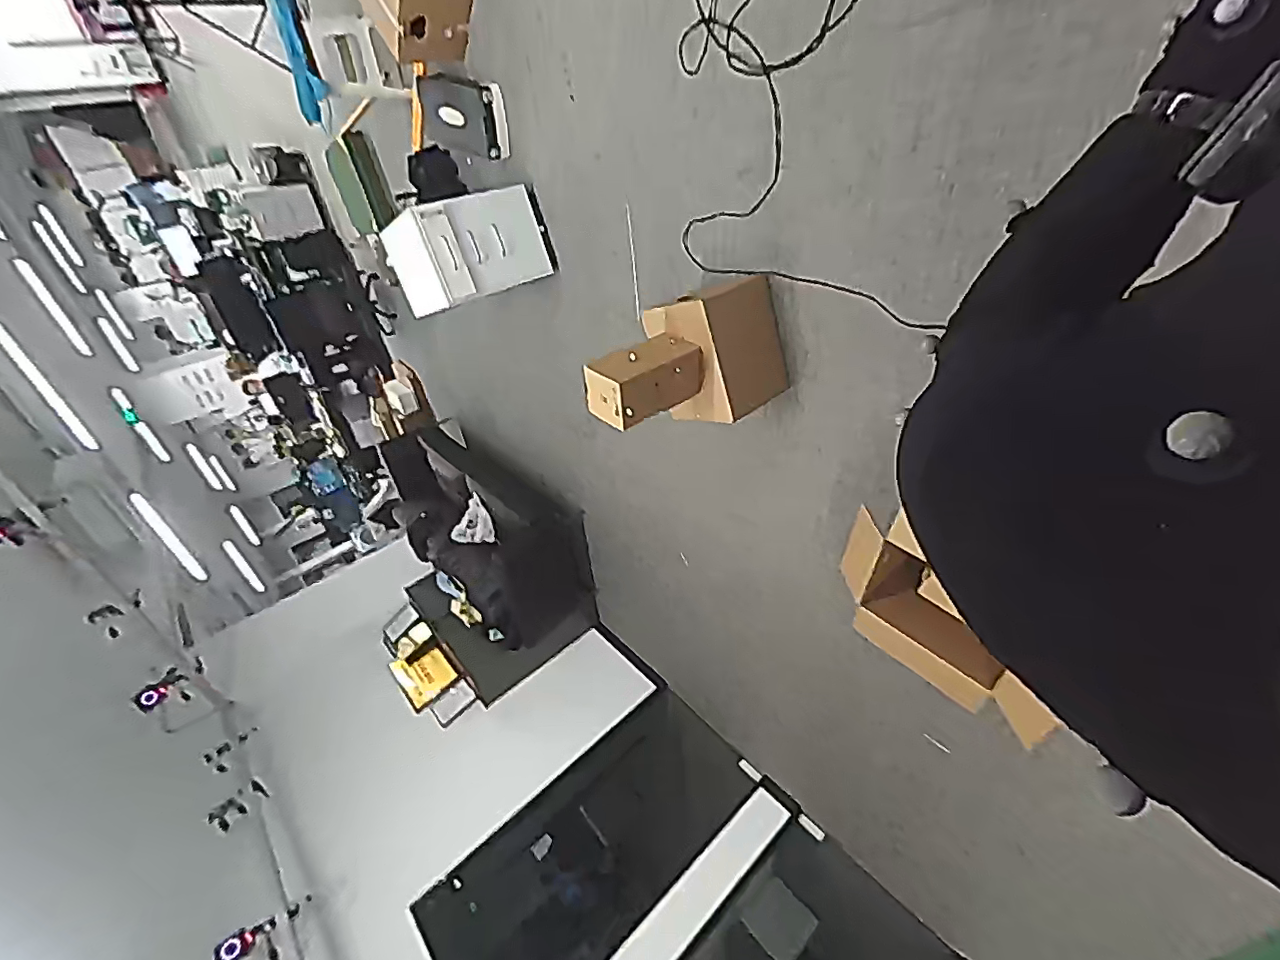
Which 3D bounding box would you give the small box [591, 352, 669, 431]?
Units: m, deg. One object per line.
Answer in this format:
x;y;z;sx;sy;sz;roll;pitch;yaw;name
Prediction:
-0.028;-0.283;1.686;0.179;0.176;0.168;35;143;39;small box
